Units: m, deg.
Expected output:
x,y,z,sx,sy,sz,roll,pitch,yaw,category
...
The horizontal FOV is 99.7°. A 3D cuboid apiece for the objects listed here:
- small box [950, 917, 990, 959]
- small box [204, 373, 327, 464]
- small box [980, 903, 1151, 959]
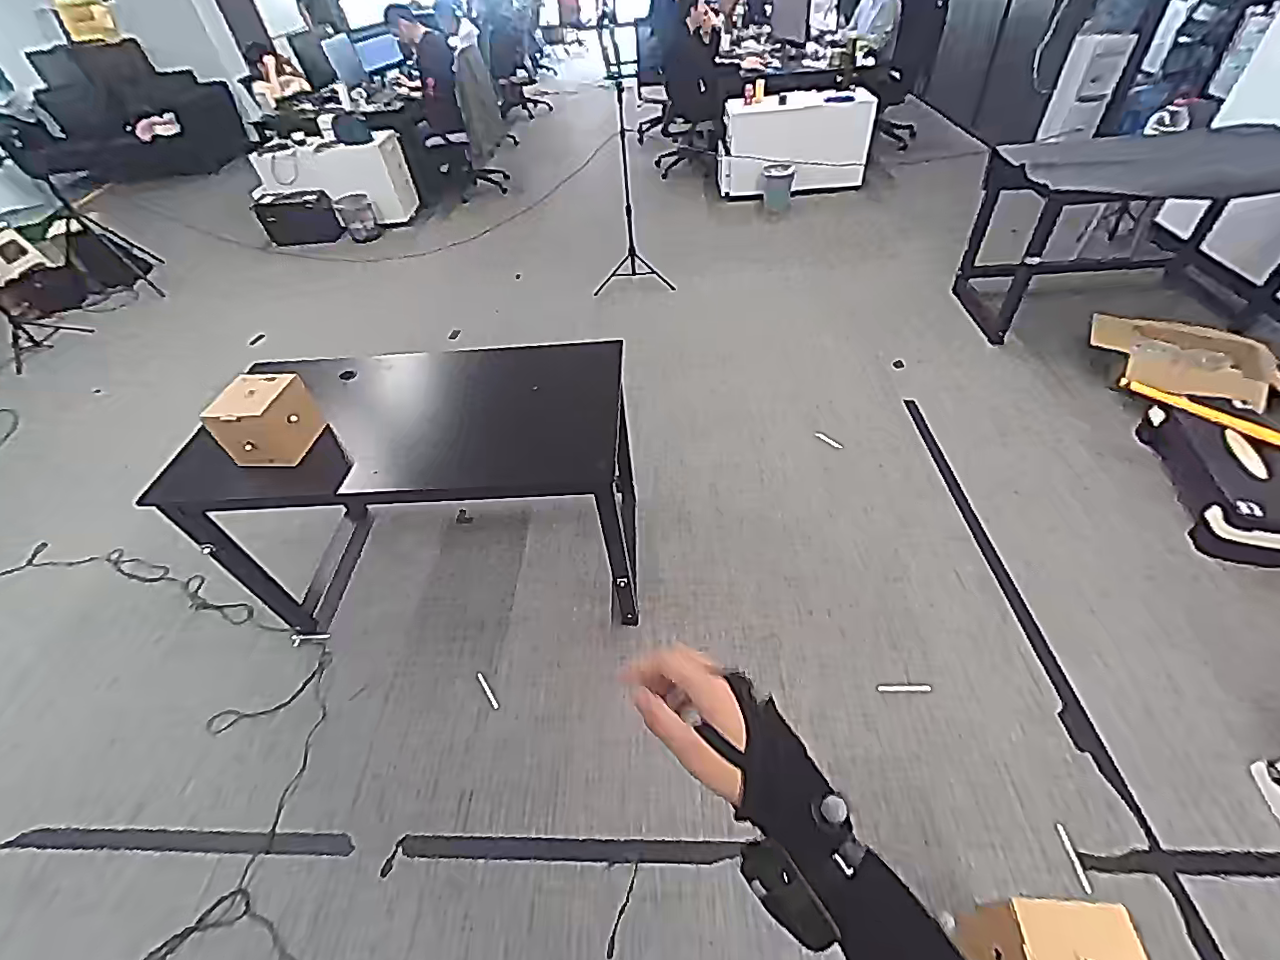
x,y,z,sx,sy,sz,roll,pitch,yaw,category
0.696,0.913,0.978,0.168,0.176,0.179,-2,48,4,small box
-0.955,-0.156,1.401,0.168,0.176,0.179,0,47,7,small box
0.690,0.794,0.867,0.179,0.176,0.168,-1,47,6,small box
